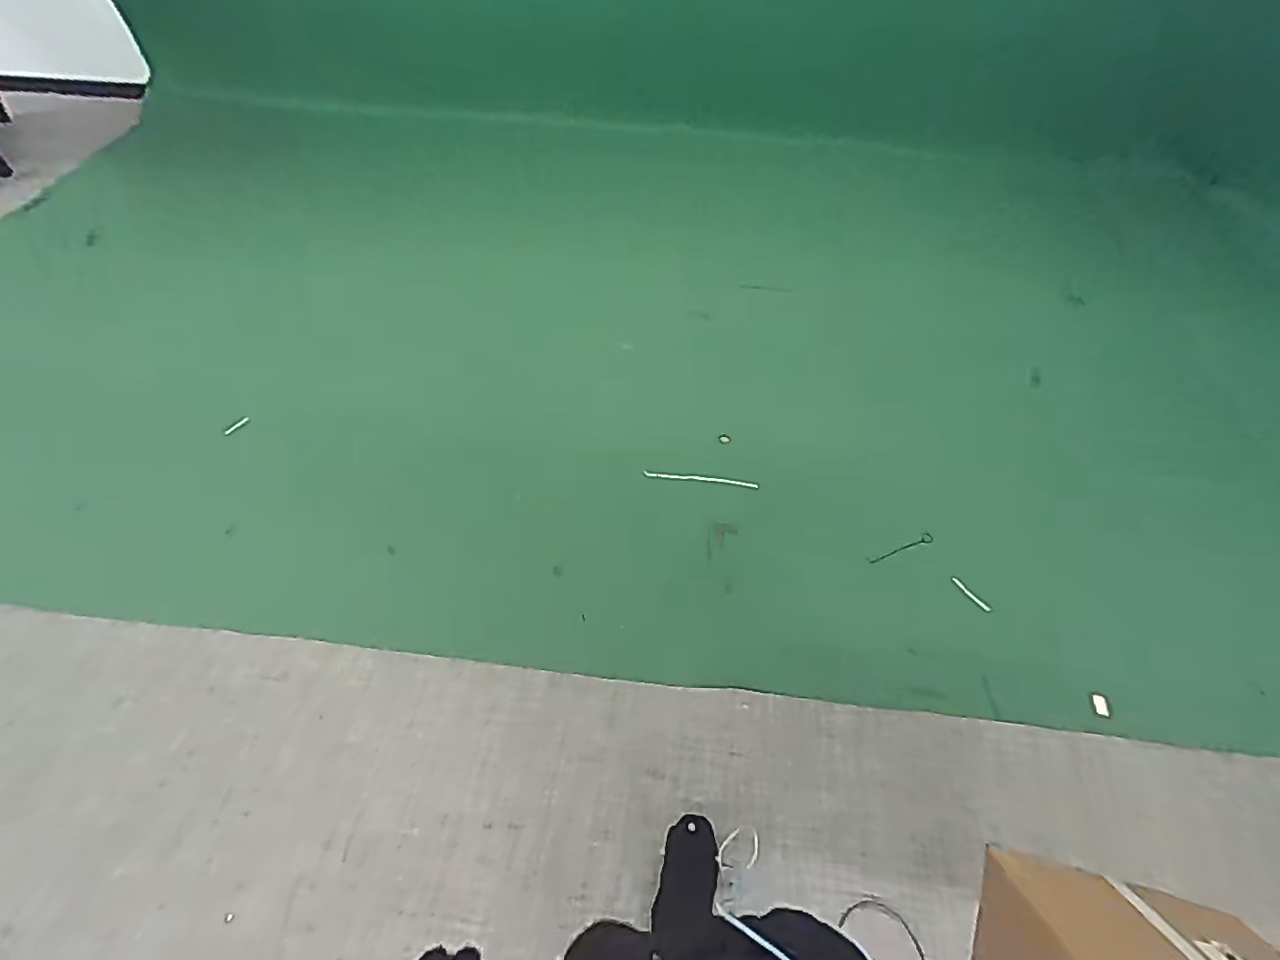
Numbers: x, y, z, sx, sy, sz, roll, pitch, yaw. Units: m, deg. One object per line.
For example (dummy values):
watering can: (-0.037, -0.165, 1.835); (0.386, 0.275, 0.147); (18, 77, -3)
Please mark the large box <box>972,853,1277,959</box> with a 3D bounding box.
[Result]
large box: (0.595, 0.704, 0.568); (0.320, 0.408, 0.320); (11, 86, 12)
